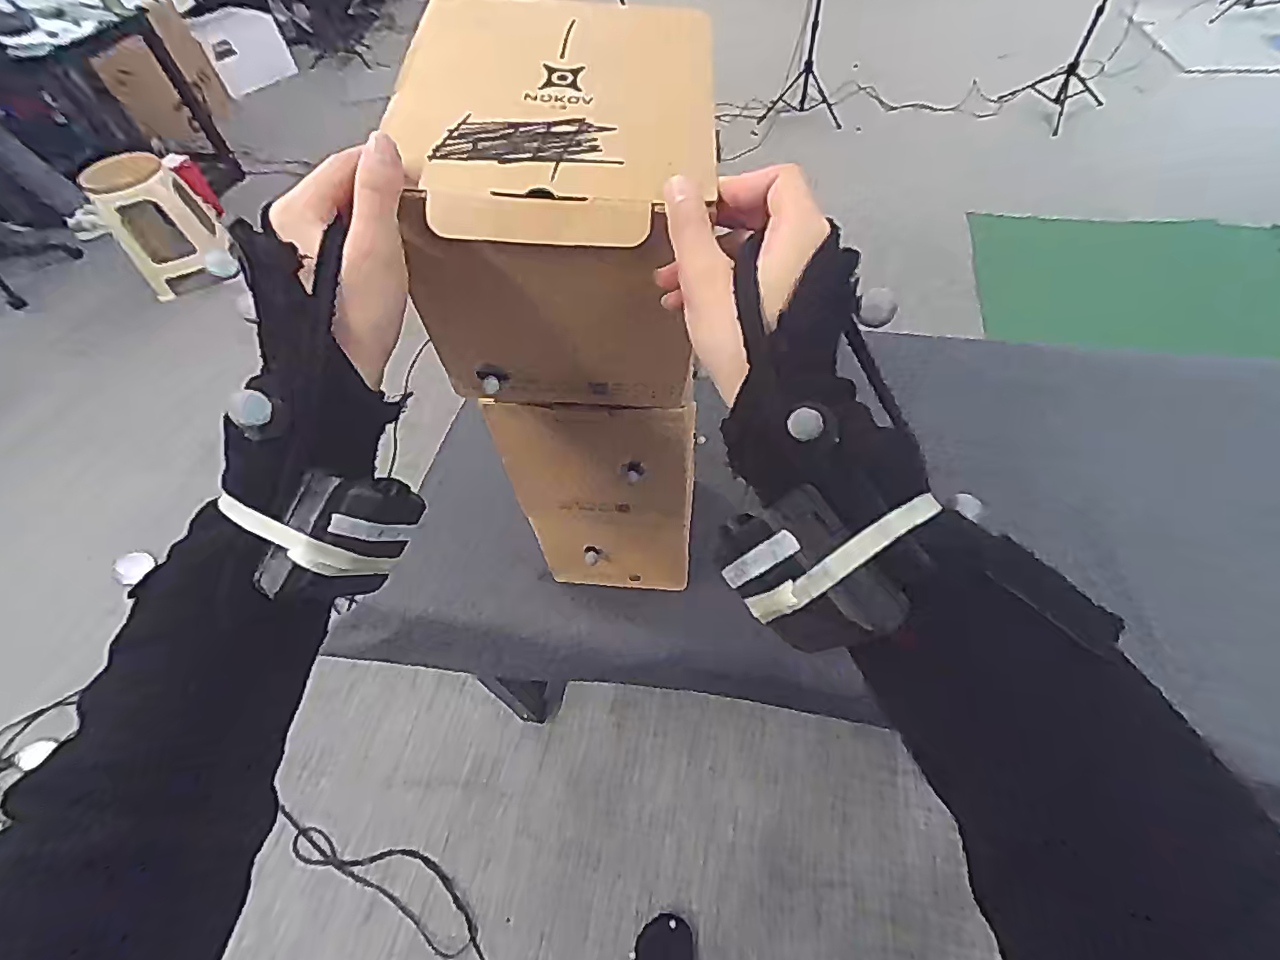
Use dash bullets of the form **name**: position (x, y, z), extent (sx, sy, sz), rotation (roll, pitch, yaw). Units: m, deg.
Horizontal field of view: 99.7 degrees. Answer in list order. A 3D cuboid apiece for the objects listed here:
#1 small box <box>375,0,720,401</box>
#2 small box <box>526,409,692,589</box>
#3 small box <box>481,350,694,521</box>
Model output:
- **small box**: position (-0.042, -0.169, 0.358), extent (0.168, 0.176, 0.179), rotation (3, 63, -2)
- **small box**: position (-0.023, 0.019, 0.659), extent (0.168, 0.176, 0.179), rotation (3, 54, 6)
- **small box**: position (-0.033, -0.076, 0.526), extent (0.168, 0.176, 0.179), rotation (3, 53, 4)
